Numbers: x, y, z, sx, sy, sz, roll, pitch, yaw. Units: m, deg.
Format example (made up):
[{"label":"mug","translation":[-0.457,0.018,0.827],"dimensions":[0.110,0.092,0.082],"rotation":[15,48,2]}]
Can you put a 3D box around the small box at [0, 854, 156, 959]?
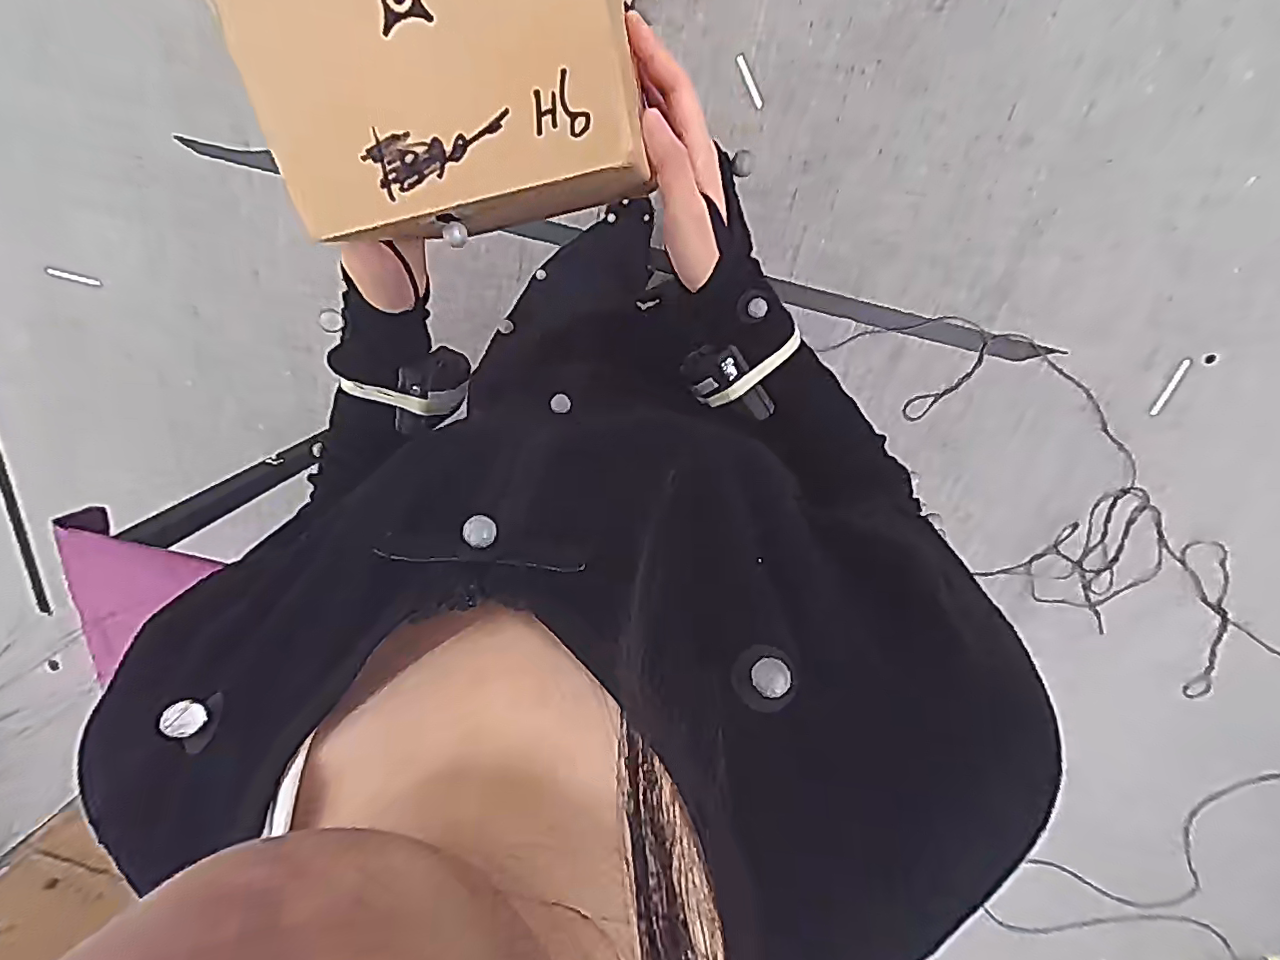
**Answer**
[{"label":"small box","translation":[-0.750,0.607,0.666],"dimensions":[0.168,0.176,0.179],"rotation":[21,116,-1]}]

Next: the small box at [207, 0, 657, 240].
[{"label":"small box","translation":[-0.090,-0.236,0.288],"dimensions":[0.168,0.176,0.179],"rotation":[-8,113,11]}]
